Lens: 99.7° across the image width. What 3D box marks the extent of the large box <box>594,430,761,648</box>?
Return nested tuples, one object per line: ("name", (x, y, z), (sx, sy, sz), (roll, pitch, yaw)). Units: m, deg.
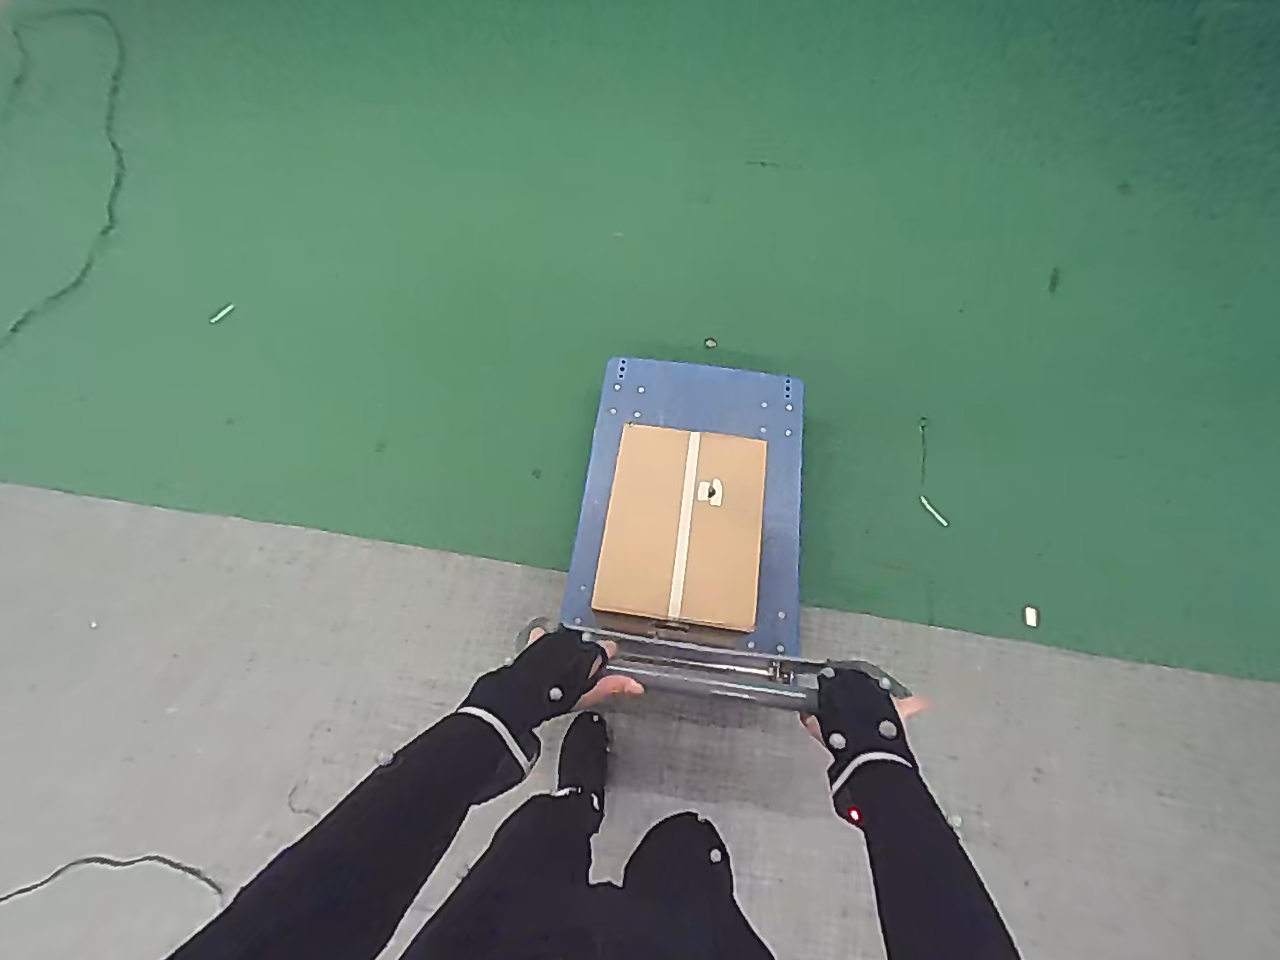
("large box", (0.087, 0.148, 1.236), (0.320, 0.320, 0.408), (8, 67, 2))
